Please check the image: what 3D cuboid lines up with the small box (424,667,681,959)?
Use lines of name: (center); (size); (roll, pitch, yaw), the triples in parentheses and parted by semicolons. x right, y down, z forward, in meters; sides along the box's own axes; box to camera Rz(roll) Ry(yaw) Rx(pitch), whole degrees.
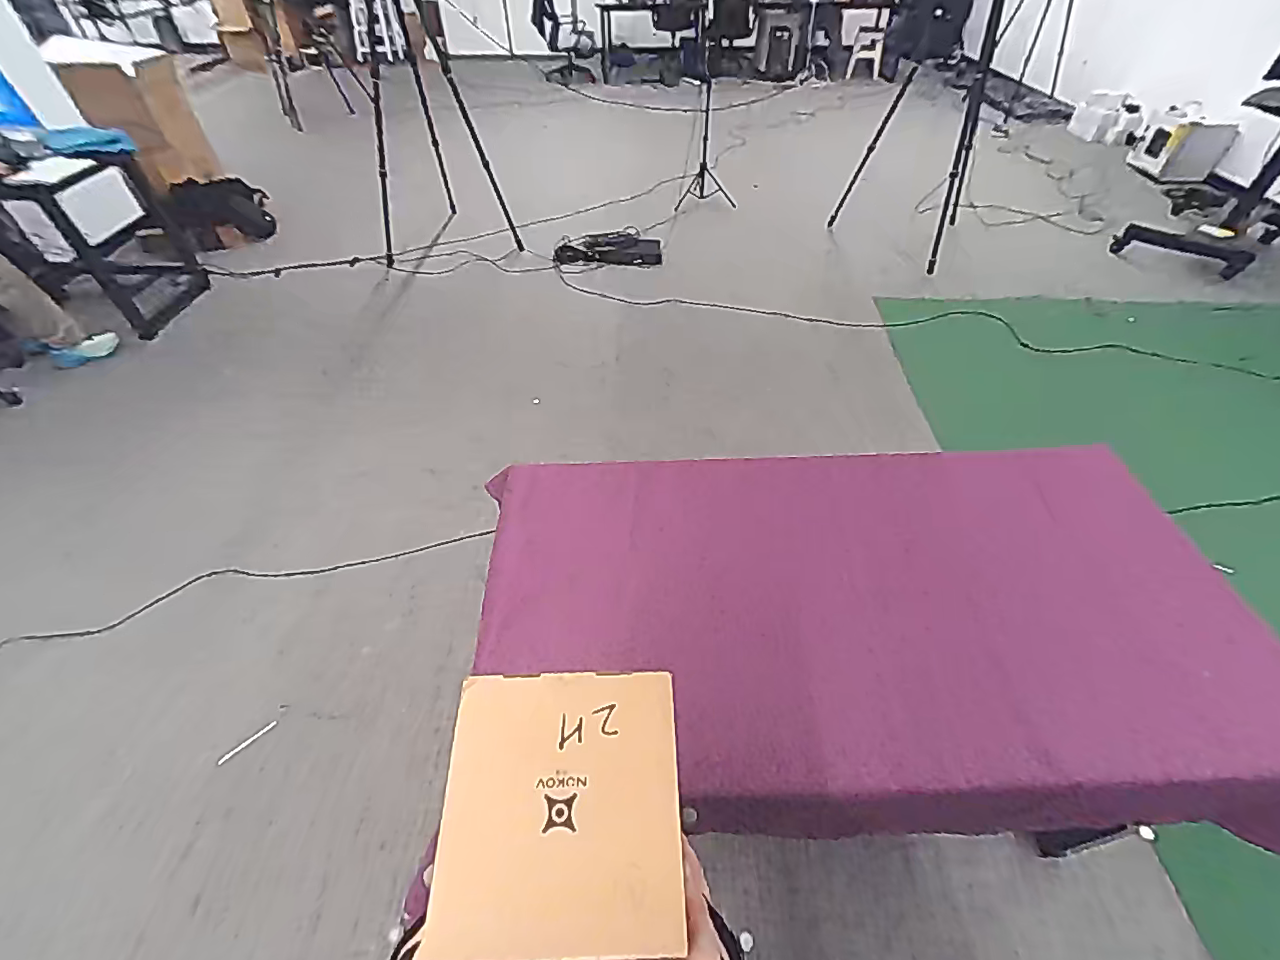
small box: (-0.055, 0.267, 0.446); (0.168, 0.176, 0.179); (0, 54, -1)
